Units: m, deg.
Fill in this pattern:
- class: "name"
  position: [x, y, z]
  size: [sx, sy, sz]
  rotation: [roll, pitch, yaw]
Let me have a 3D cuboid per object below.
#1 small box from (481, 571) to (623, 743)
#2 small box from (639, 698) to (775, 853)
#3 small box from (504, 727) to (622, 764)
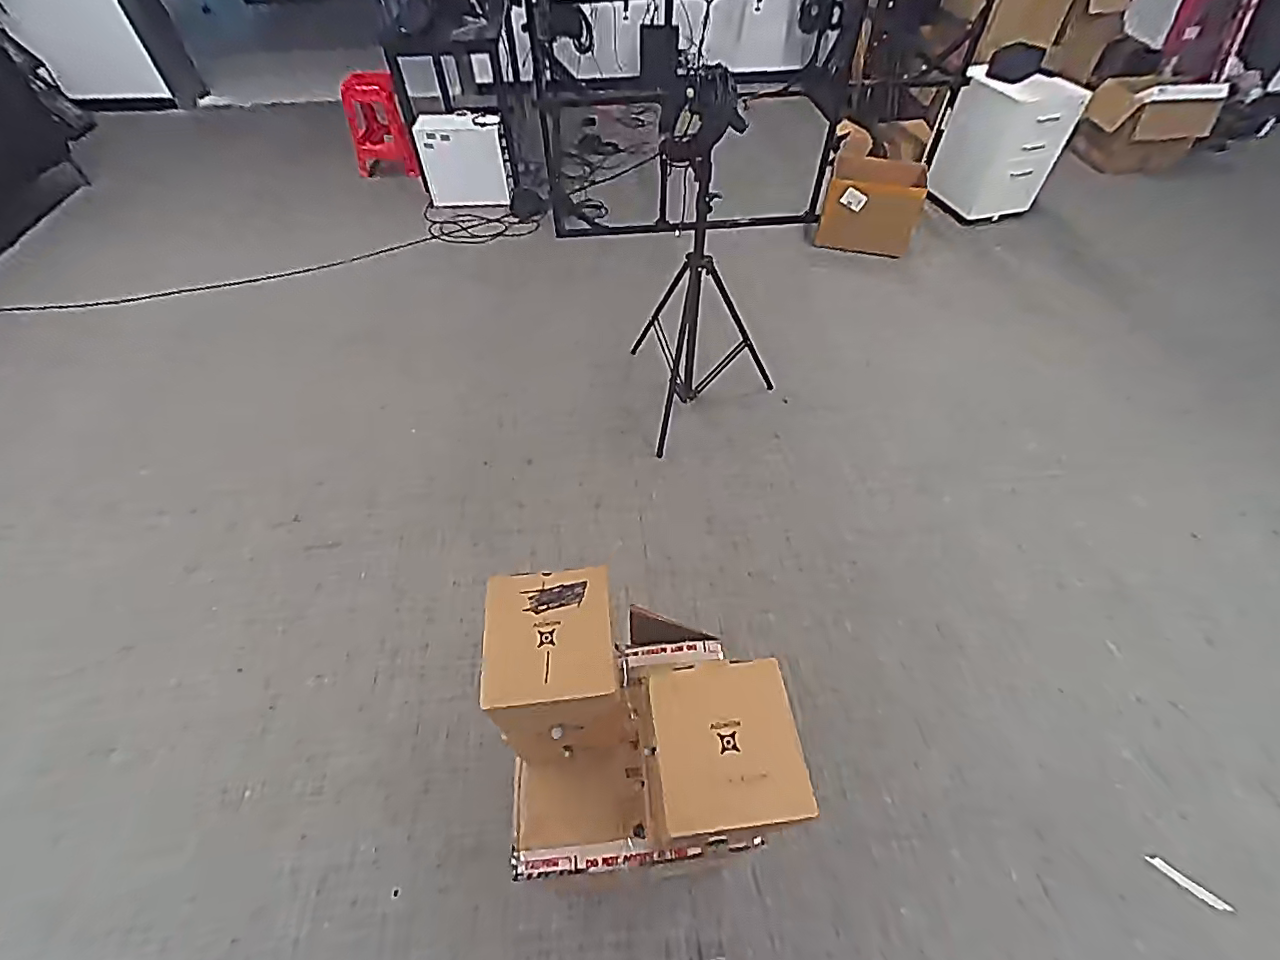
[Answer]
- class: "small box"
  position: [-0.114, 0.249, 0.757]
  size: [0.168, 0.176, 0.179]
  rotation: [-6, 54, -2]
- class: "small box"
  position: [0.089, 0.447, 0.812]
  size: [0.168, 0.176, 0.179]
  rotation: [-5, 53, -5]
- class: "small box"
  position: [-0.125, 0.347, 0.890]
  size: [0.168, 0.176, 0.179]
  rotation: [-9, 54, -4]
